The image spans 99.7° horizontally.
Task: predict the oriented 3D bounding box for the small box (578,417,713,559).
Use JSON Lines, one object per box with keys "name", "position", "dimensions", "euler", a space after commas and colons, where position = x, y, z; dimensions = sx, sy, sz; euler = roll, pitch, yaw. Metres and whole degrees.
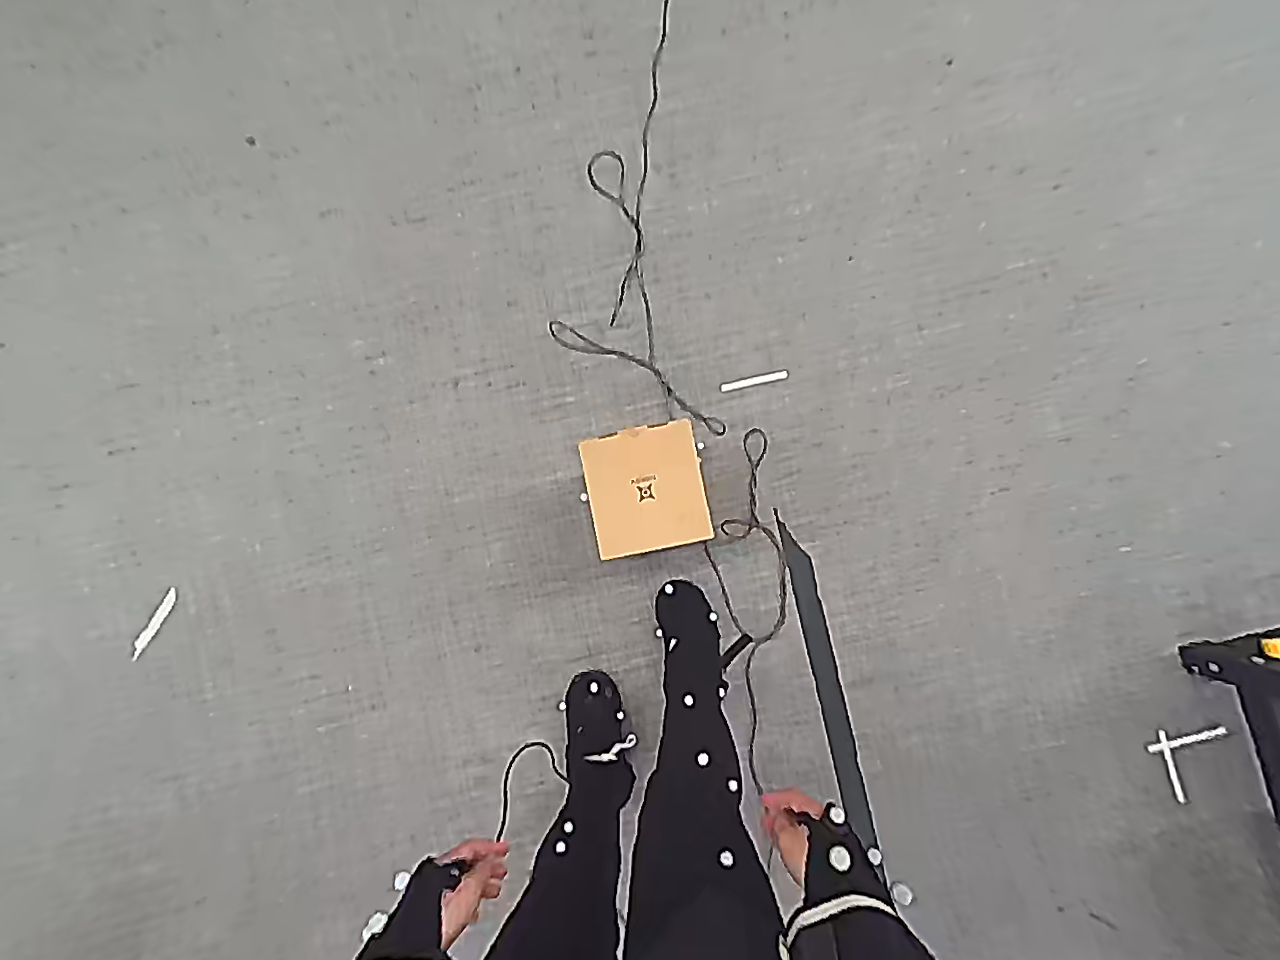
{"name": "small box", "position": [0.014, 0.015, 0.839], "dimensions": [0.168, 0.176, 0.179], "euler": [-12, 85, 3]}
